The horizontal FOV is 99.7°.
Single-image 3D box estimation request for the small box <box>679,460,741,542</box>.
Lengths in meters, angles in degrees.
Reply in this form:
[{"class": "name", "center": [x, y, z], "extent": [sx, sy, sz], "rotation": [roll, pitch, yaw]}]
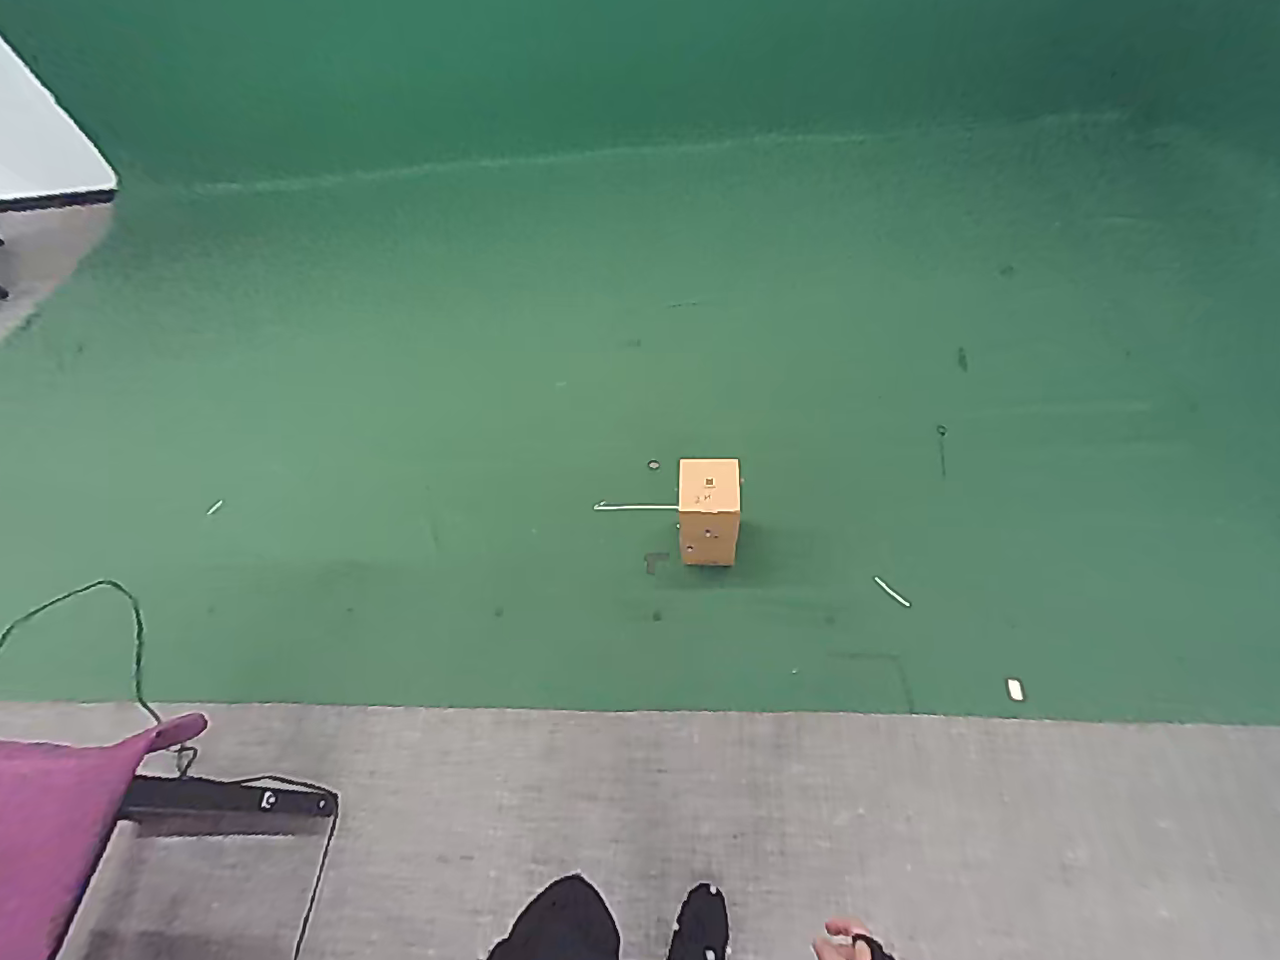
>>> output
[{"class": "small box", "center": [0.198, 0.061, 1.544], "extent": [0.168, 0.176, 0.179], "rotation": [0, 57, 7]}]
